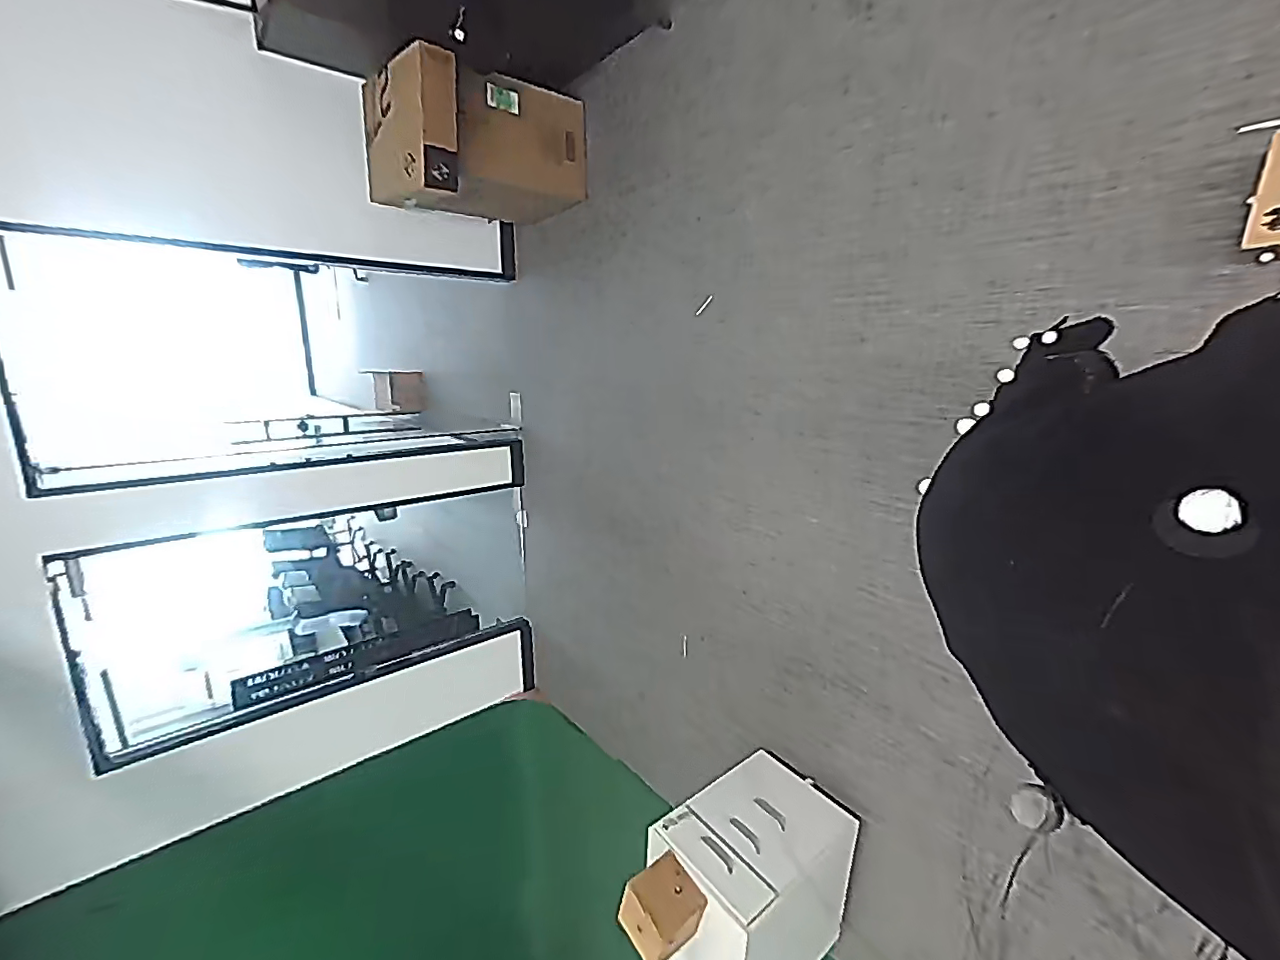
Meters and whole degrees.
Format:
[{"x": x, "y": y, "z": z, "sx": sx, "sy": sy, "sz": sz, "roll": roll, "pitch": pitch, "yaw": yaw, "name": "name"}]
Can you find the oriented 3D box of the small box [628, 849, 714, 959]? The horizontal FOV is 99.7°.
[{"x": 0.088, "y": 1.207, "z": 1.533, "sx": 0.168, "sy": 0.176, "sz": 0.179, "roll": 35, "pitch": 124, "yaw": 42, "name": "small box"}]
